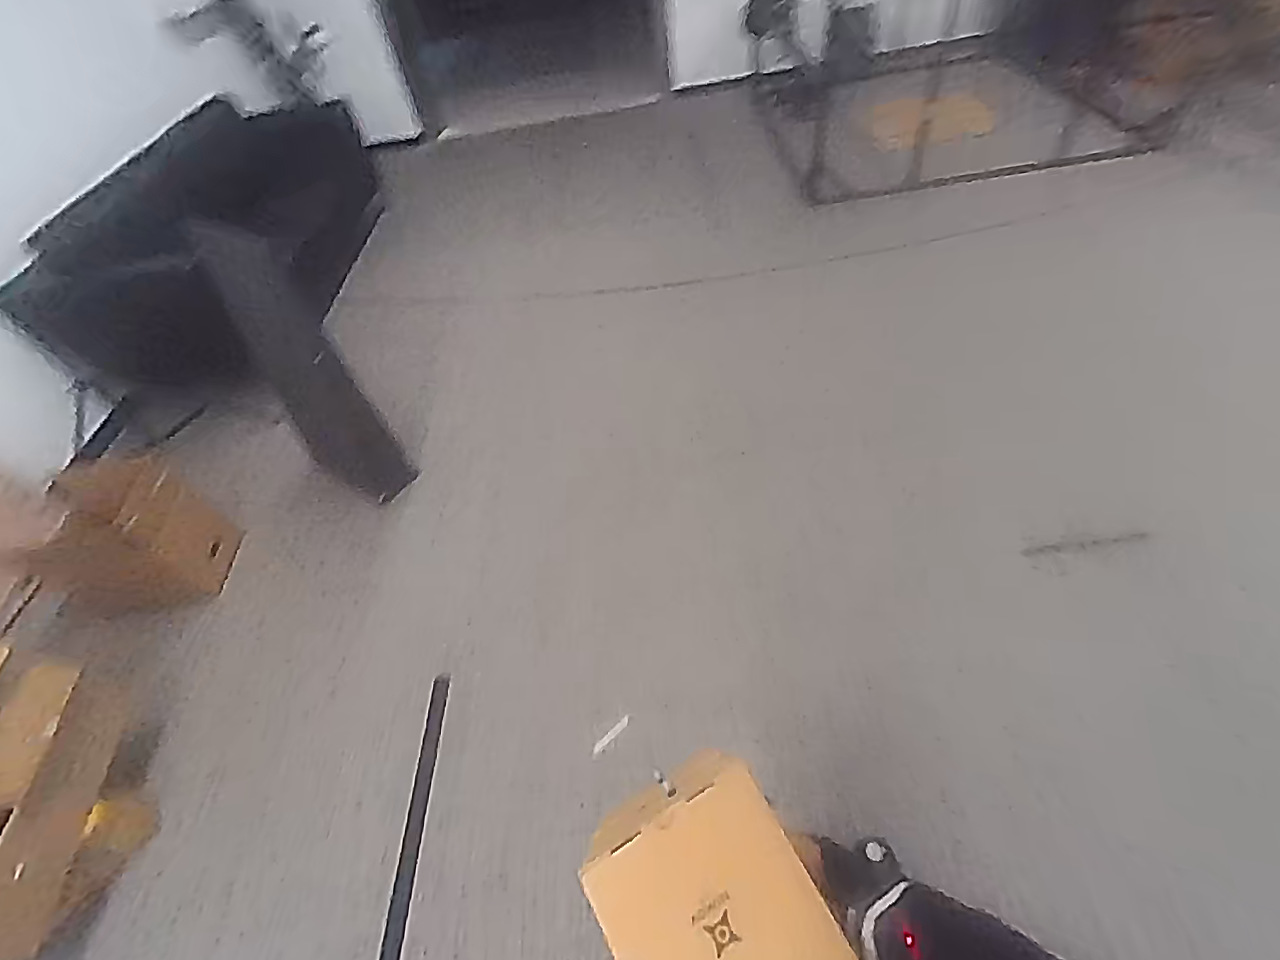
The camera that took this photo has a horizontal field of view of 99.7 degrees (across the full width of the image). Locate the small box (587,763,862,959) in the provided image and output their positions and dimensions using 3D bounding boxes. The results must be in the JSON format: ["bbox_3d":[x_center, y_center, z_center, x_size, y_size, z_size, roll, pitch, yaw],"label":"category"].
[{"bbox_3d":[0.071,0.385,0.494,0.168,0.176,0.179,-28,67,-11],"label":"small box"}]

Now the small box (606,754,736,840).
[{"bbox_3d":[0.073,0.452,0.642,0.168,0.176,0.179,-27,67,-10],"label":"small box"}]
